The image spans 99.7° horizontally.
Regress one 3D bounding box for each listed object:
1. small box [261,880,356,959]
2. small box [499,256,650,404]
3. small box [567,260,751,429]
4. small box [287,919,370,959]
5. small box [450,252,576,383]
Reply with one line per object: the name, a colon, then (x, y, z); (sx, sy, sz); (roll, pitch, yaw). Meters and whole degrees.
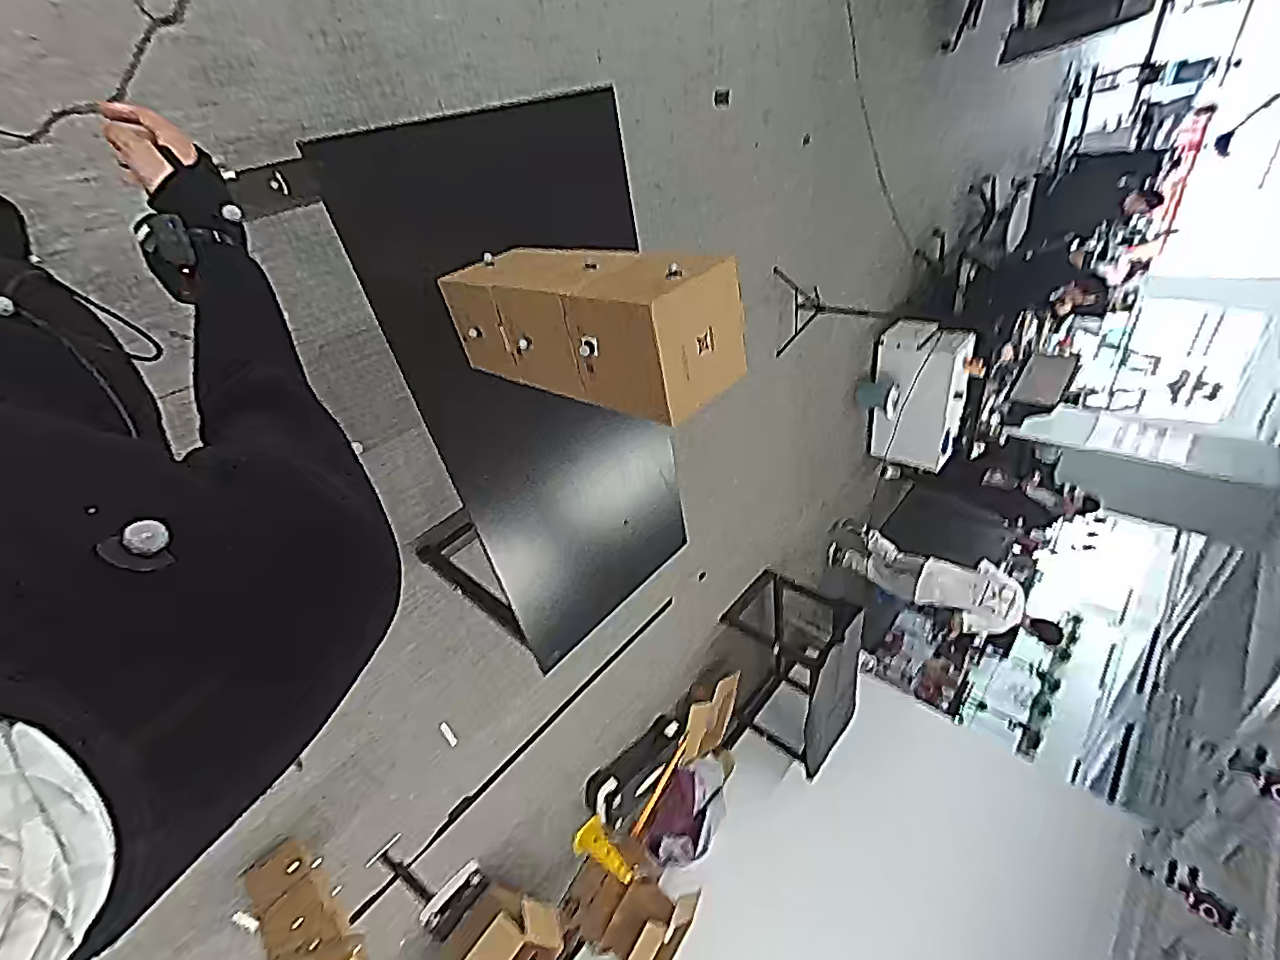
small box: (-1.027, 1.399, 1.675); (0.179, 0.176, 0.168); (-36, 131, -31)
small box: (-0.087, -0.244, 0.848); (0.179, 0.176, 0.168); (-39, 132, -31)
small box: (0.031, -0.196, 0.746); (0.179, 0.176, 0.168); (-39, 131, -31)
small box: (-0.903, 1.447, 1.581); (0.168, 0.176, 0.179); (-35, 130, -33)
small box: (-0.207, -0.291, 0.951); (0.179, 0.176, 0.168); (-39, 133, -30)
